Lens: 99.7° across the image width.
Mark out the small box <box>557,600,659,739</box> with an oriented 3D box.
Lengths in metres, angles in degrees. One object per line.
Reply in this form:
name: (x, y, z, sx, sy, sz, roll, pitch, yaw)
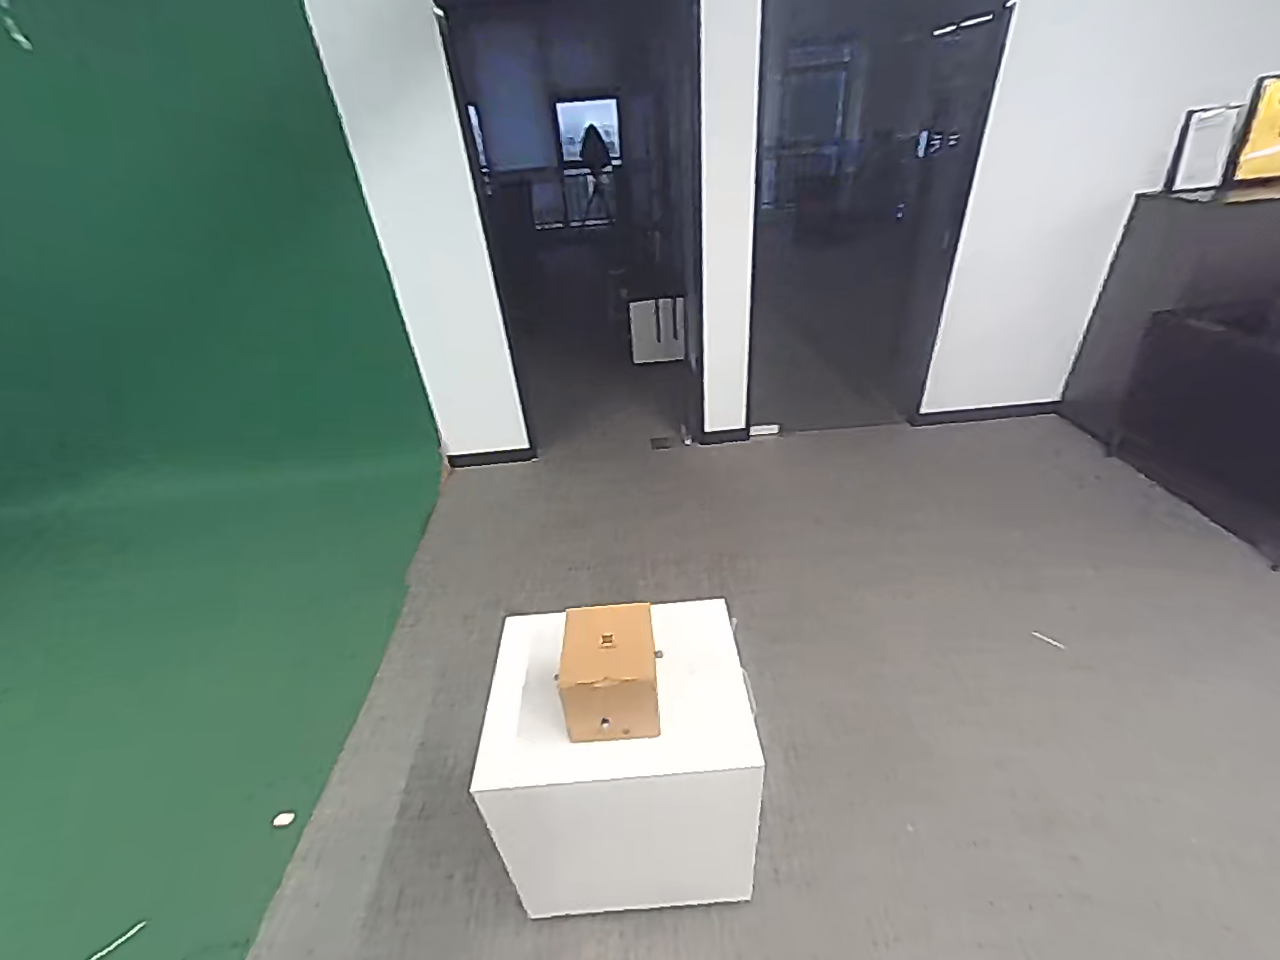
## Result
small box: (-0.054, 0.348, 1.001, 0.168, 0.176, 0.179, -5, 32, 0)
